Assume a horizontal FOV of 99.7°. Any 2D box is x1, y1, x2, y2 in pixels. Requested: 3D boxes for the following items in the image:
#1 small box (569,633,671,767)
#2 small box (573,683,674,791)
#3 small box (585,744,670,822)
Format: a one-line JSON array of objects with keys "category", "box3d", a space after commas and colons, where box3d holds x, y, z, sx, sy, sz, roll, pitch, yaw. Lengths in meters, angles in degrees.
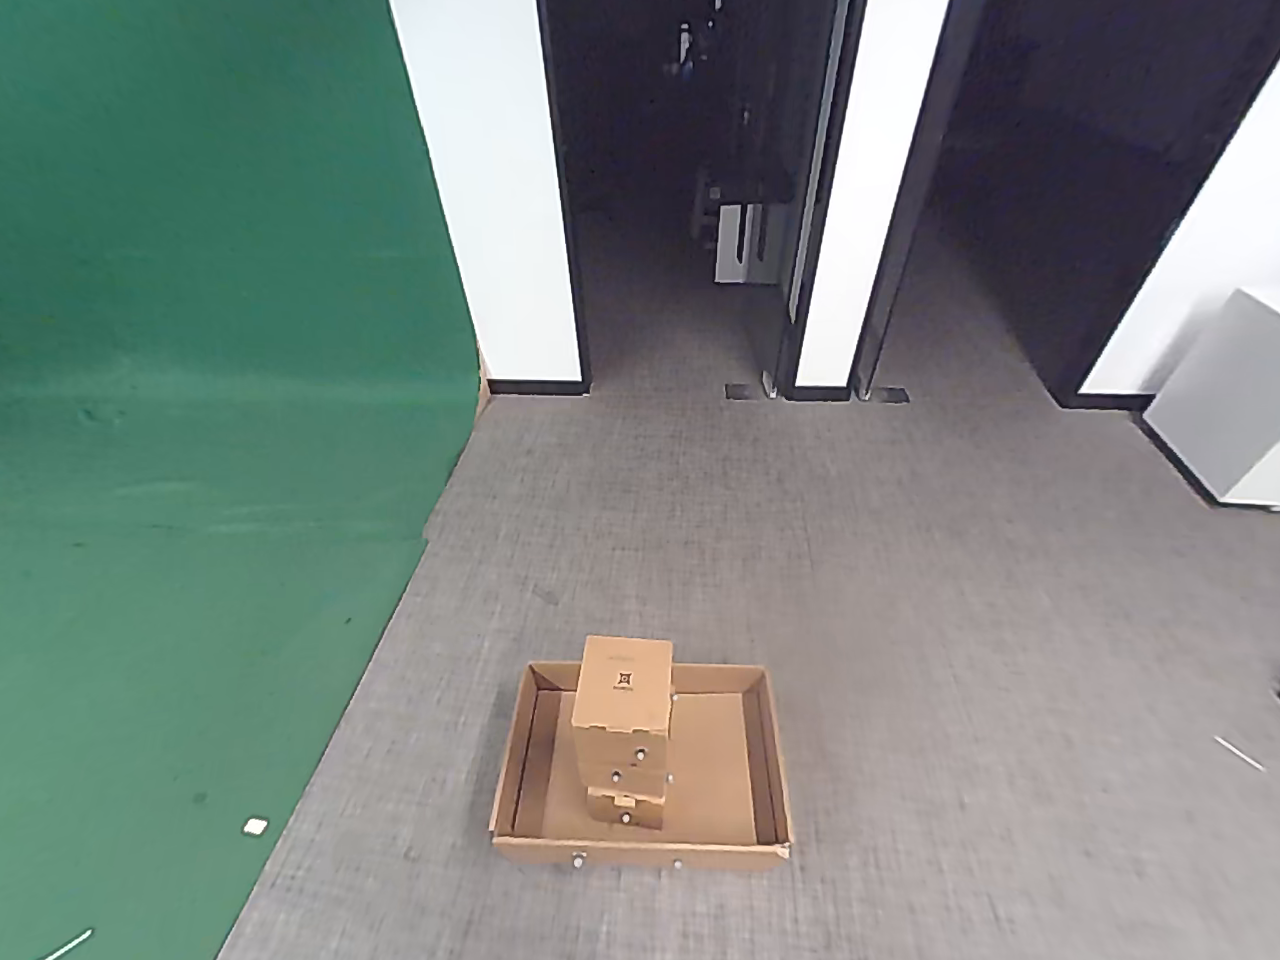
[{"category": "small box", "box3d": [-0.030, 0.414, 1.015, 0.168, 0.176, 0.179, 4, 41, 4]}, {"category": "small box", "box3d": [-0.027, 0.527, 1.131, 0.179, 0.176, 0.168, 6, 42, 9]}, {"category": "small box", "box3d": [-0.022, 0.655, 1.234, 0.168, 0.176, 0.179, 5, 44, 7]}]
